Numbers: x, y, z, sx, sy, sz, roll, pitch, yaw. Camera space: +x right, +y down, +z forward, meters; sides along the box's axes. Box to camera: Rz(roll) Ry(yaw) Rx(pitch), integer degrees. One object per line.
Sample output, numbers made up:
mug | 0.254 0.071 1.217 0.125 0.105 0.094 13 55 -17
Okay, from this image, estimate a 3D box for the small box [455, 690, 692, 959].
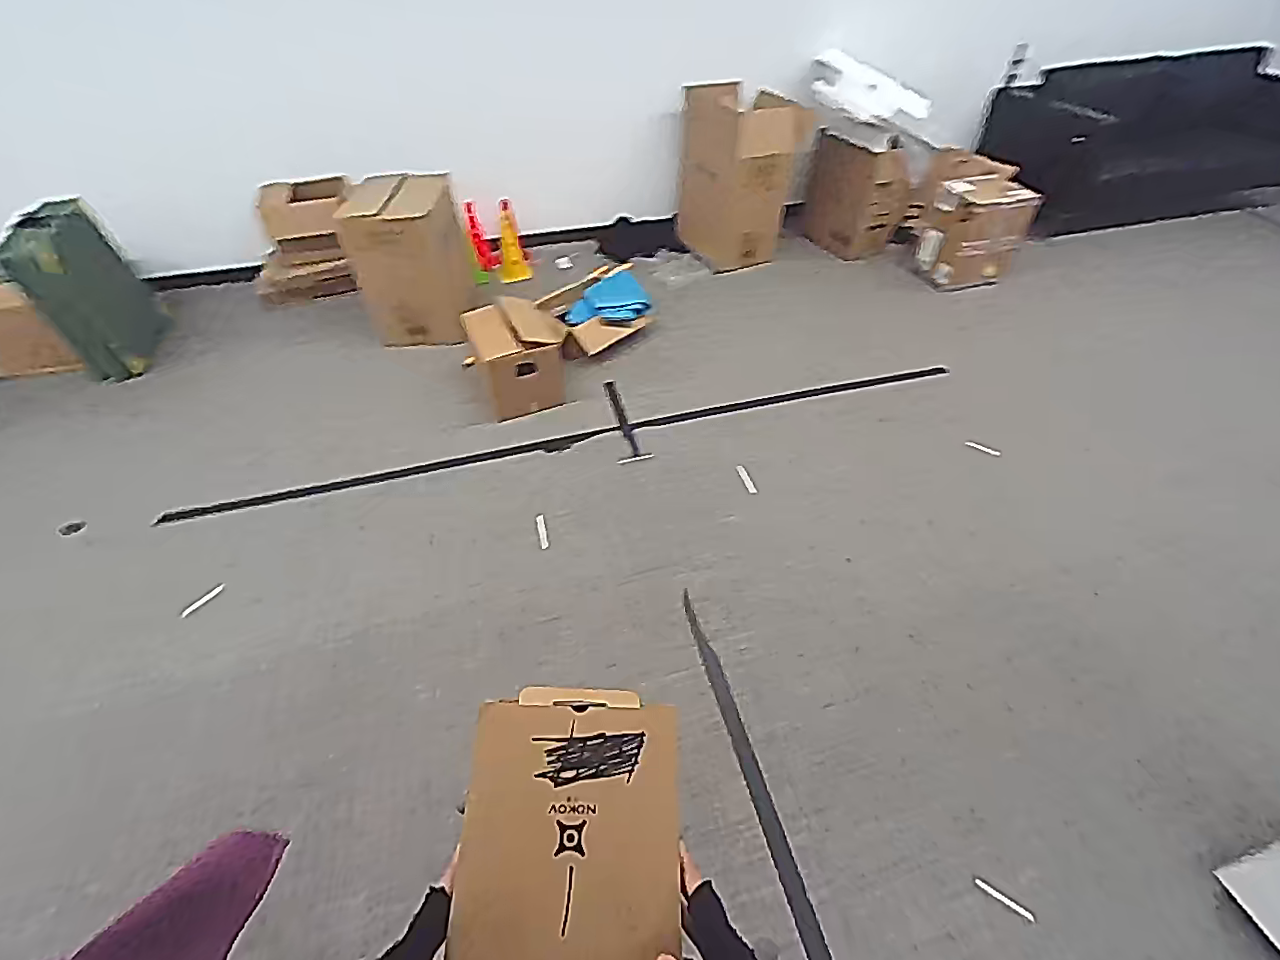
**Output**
small box | -0.052 0.298 0.480 0.168 0.176 0.179 4 58 -5
